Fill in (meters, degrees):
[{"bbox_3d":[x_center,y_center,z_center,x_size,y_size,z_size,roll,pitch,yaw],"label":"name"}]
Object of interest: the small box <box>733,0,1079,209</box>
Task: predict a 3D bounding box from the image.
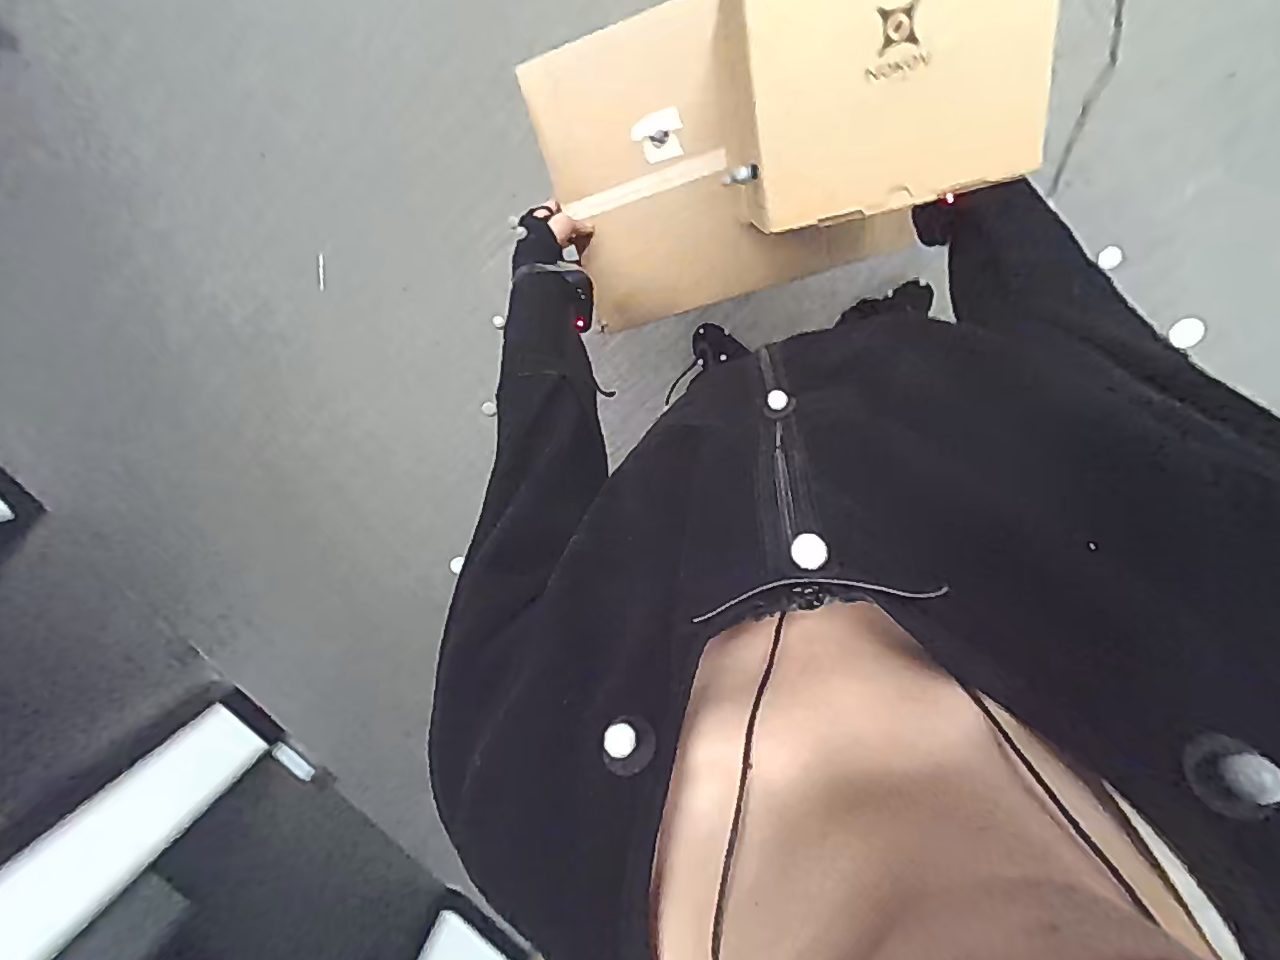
[{"bbox_3d":[0.157,-0.299,0.365,0.168,0.176,0.179,-9,119,12],"label":"small box"}]
